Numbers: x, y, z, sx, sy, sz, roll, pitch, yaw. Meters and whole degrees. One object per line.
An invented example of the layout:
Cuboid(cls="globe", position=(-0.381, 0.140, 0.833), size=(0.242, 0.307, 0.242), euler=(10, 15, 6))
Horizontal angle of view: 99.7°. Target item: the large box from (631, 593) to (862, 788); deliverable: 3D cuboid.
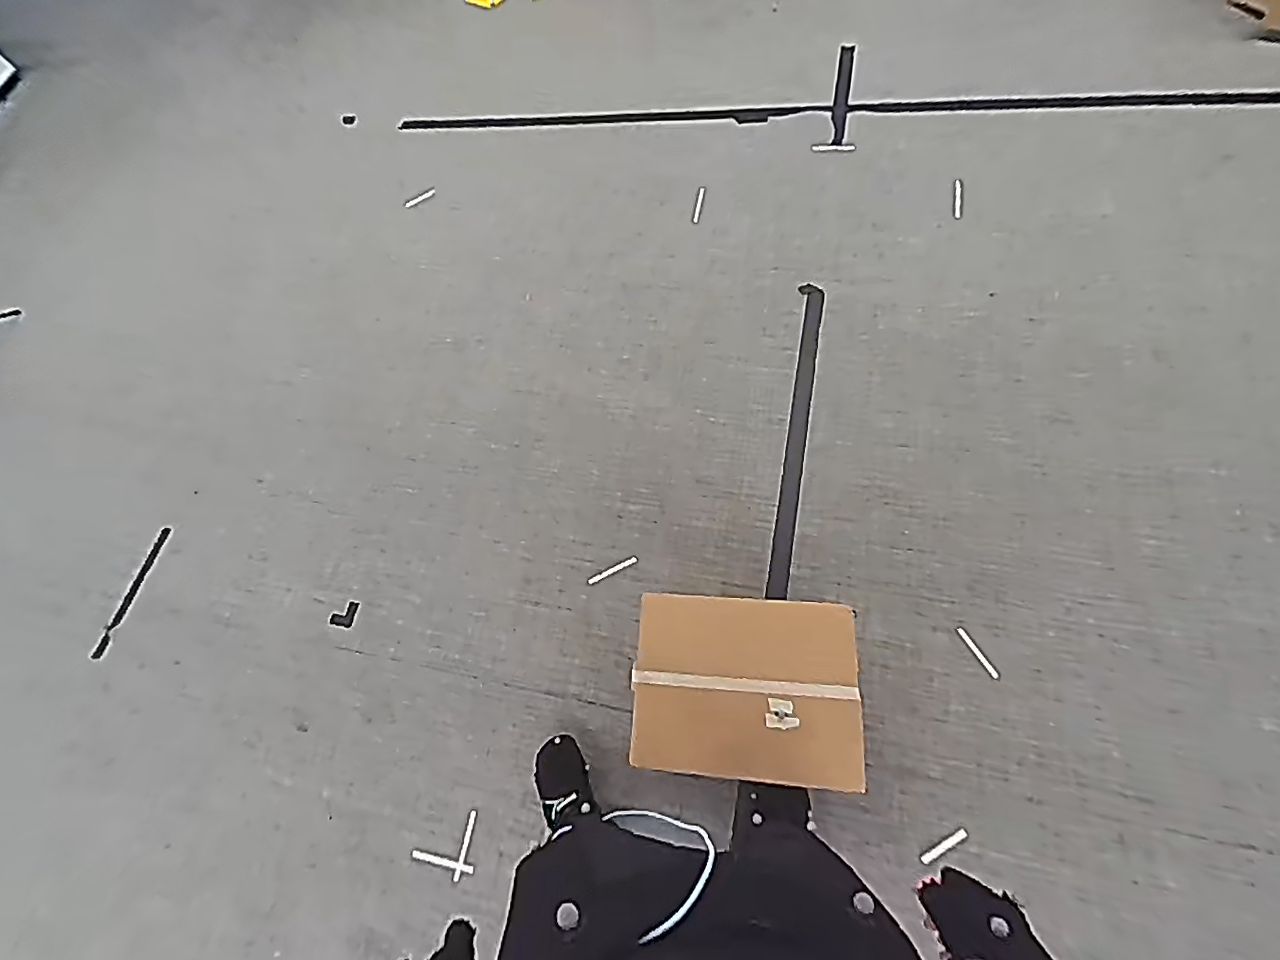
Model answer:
Cuboid(cls="large box", position=(0.208, 0.426, 1.124), size=(0.408, 0.320, 0.320), euler=(2, 69, 10))
